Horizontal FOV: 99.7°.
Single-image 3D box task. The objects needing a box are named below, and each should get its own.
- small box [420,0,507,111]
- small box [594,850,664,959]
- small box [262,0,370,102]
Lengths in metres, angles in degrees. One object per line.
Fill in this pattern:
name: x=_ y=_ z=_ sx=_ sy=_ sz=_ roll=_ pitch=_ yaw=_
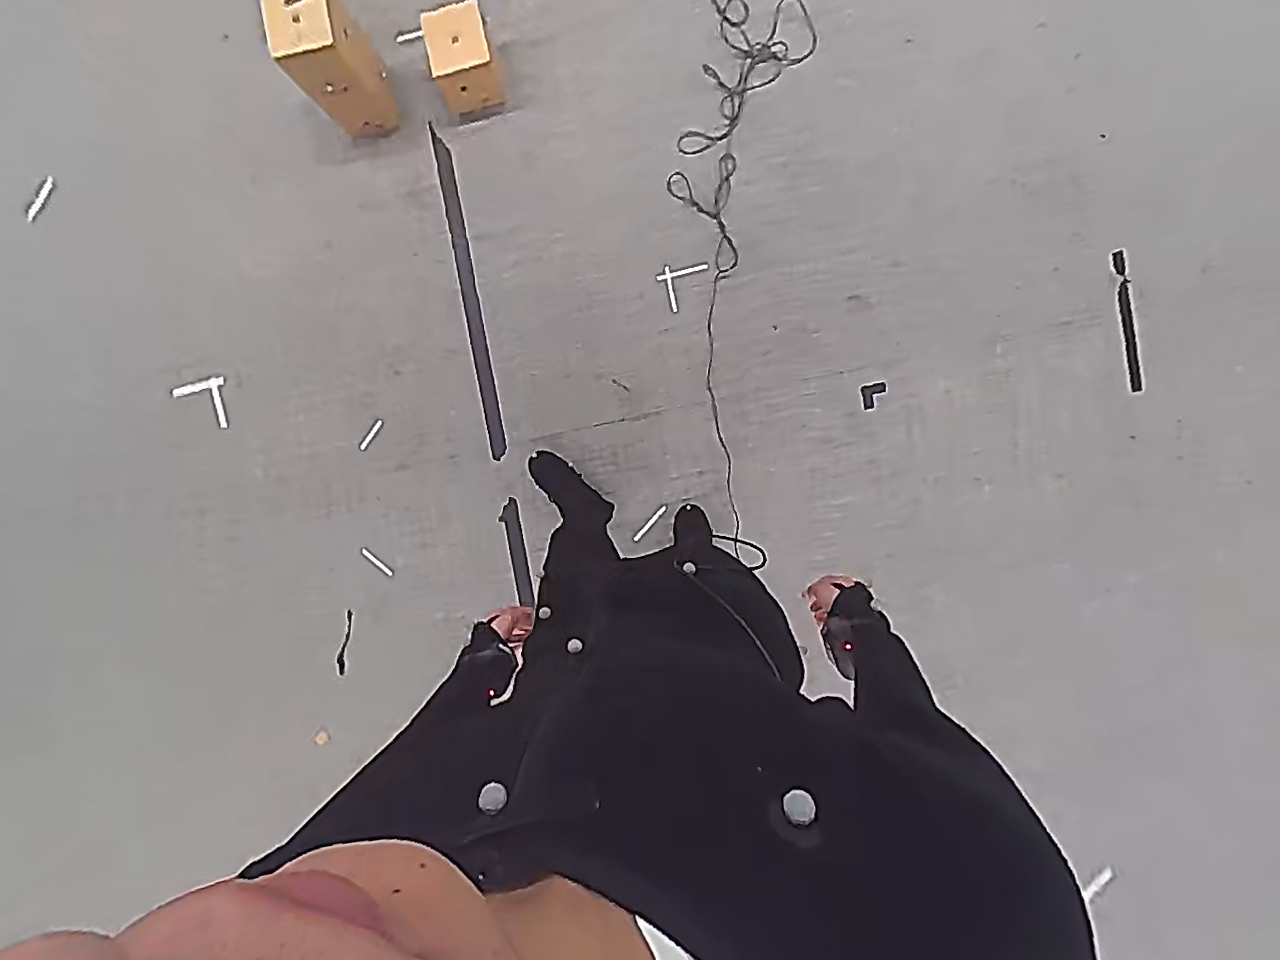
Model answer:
small box: x=-0.494 y=-1.193 z=1.541 sx=0.168 sy=0.176 sz=0.179 roll=-13 pitch=90 yaw=3
small box: x=-0.026 y=1.215 z=1.555 sx=0.168 sy=0.176 sz=0.179 roll=-13 pitch=90 yaw=3
small box: x=-0.829 y=-1.130 z=1.396 sx=0.168 sy=0.176 sz=0.179 roll=-9 pitch=92 yaw=4
